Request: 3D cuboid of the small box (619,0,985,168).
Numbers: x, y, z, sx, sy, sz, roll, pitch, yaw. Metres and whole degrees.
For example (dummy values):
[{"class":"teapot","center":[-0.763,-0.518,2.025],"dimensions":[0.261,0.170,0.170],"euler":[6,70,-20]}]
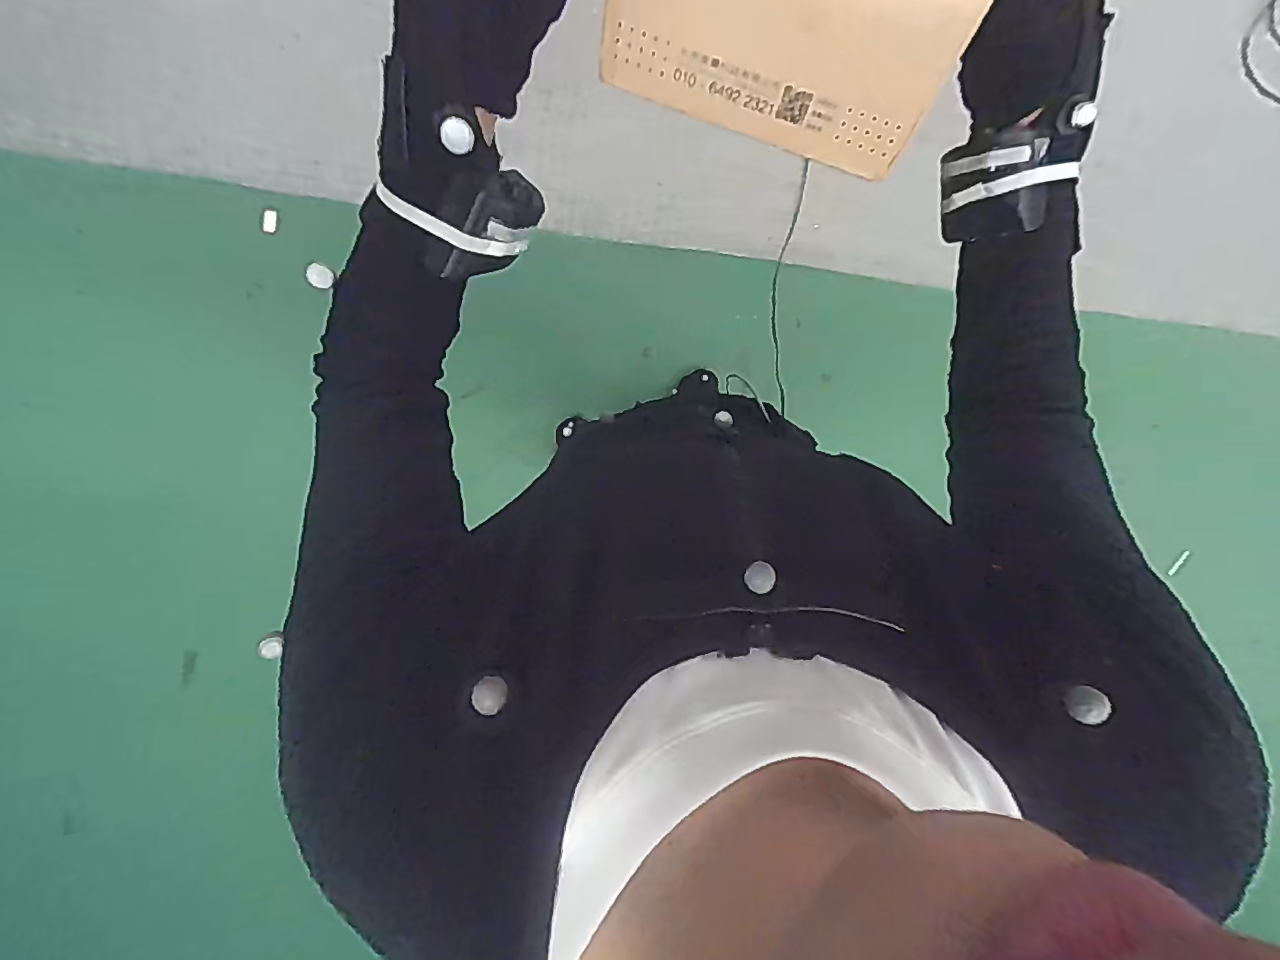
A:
[{"class":"small box","center":[0.099,-0.301,0.276],"dimensions":[0.168,0.176,0.179],"euler":[21,55,0]}]
